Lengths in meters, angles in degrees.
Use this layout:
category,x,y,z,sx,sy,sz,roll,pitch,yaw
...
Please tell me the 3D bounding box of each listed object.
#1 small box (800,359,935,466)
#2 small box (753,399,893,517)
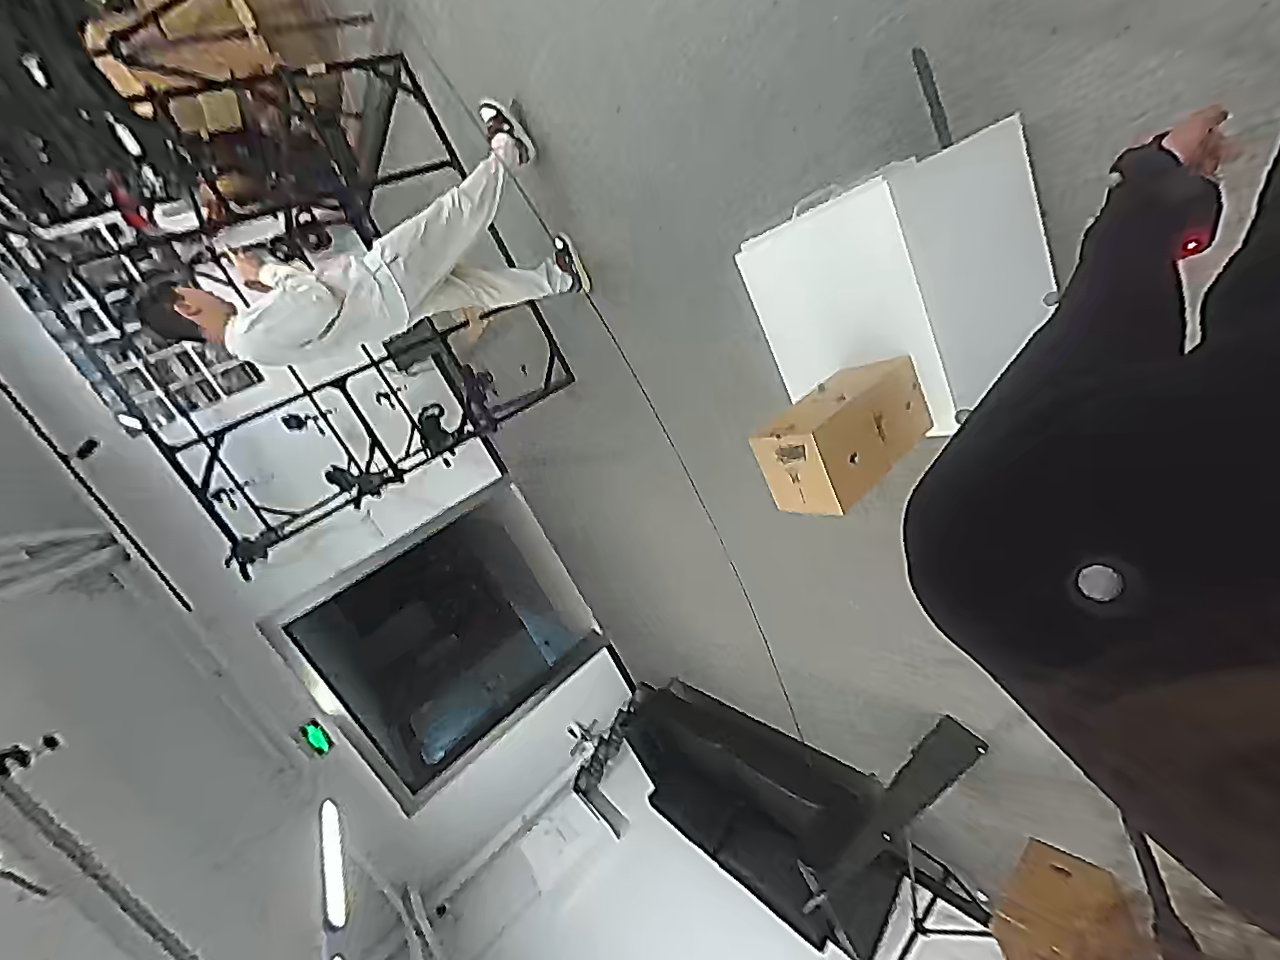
category,x,y,z,sx,sy,sz,roll,pitch,yaw
small box,0.480,-0.137,1.143,0.179,0.176,0.168,0,122,60
small box,0.362,-0.049,1.068,0.168,0.176,0.179,2,124,60
